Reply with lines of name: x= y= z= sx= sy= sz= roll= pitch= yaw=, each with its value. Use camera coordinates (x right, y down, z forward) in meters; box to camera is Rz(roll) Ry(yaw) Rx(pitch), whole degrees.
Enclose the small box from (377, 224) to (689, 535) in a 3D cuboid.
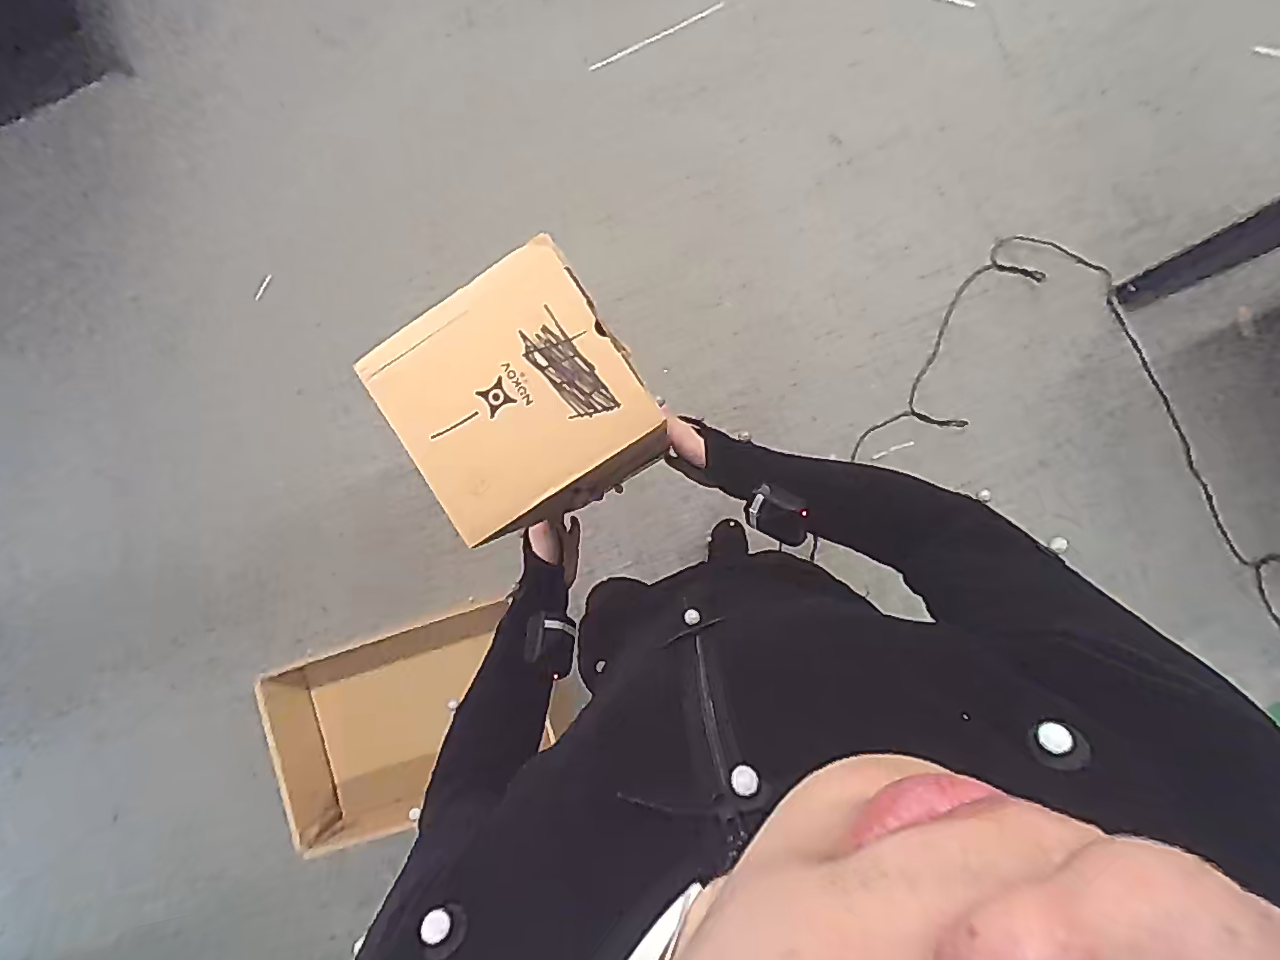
small box: x=-0.075 y=-0.075 z=0.469 sx=0.179 sy=0.176 sz=0.168 roll=-31 pitch=90 yaw=4
